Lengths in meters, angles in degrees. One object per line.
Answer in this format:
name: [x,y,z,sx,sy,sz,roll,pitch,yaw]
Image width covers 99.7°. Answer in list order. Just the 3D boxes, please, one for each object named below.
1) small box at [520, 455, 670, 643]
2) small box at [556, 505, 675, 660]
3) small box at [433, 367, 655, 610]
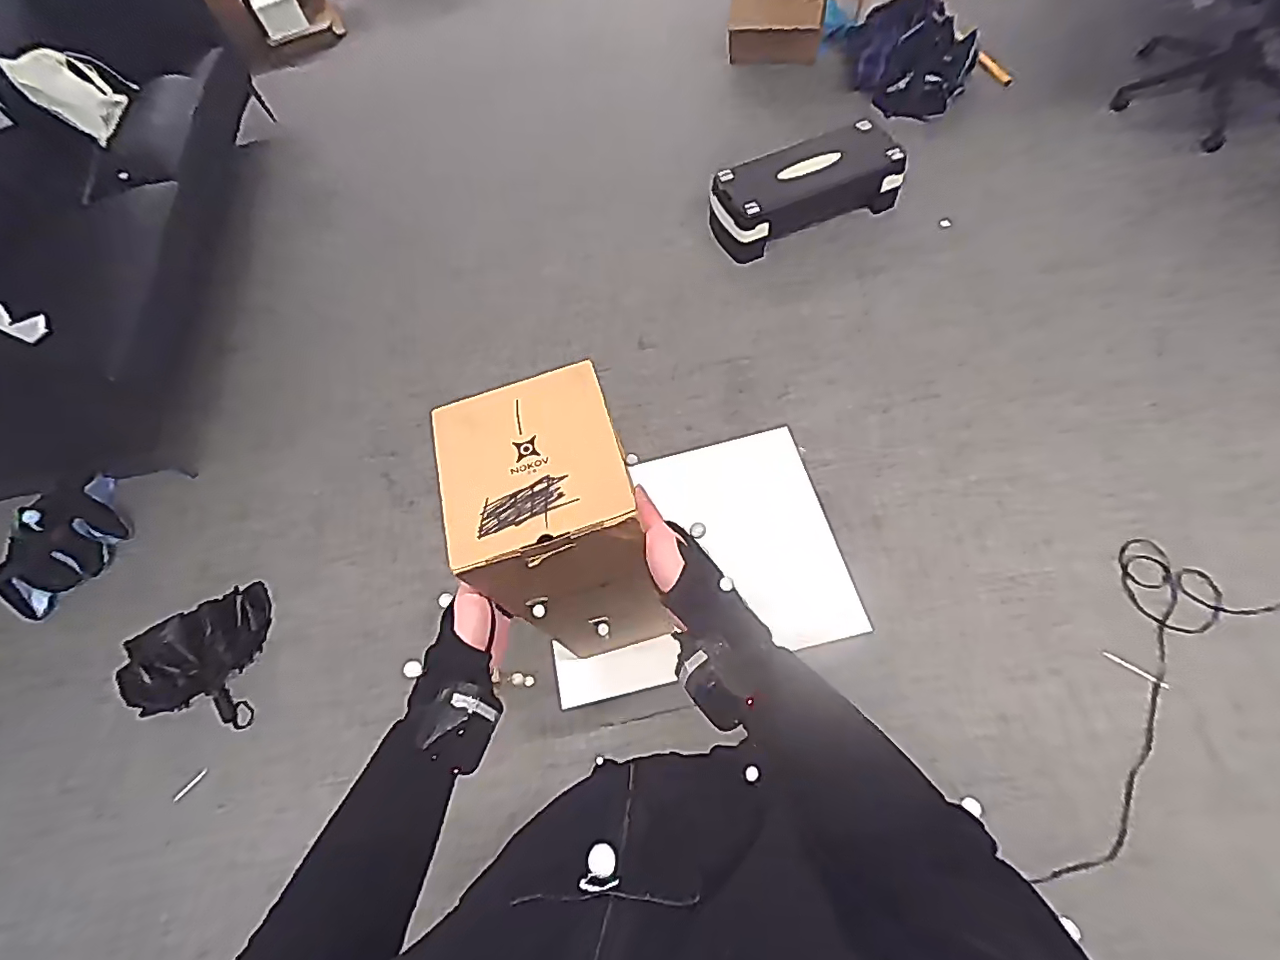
small box: [-0.066,0.094,0.708,0.168,0.176,0.179,-19,63,-1]
small box: [-0.047,0.165,0.853,0.168,0.176,0.179,-16,62,-1]
small box: [-0.091,0.021,0.558,0.168,0.176,0.179,-18,60,1]
